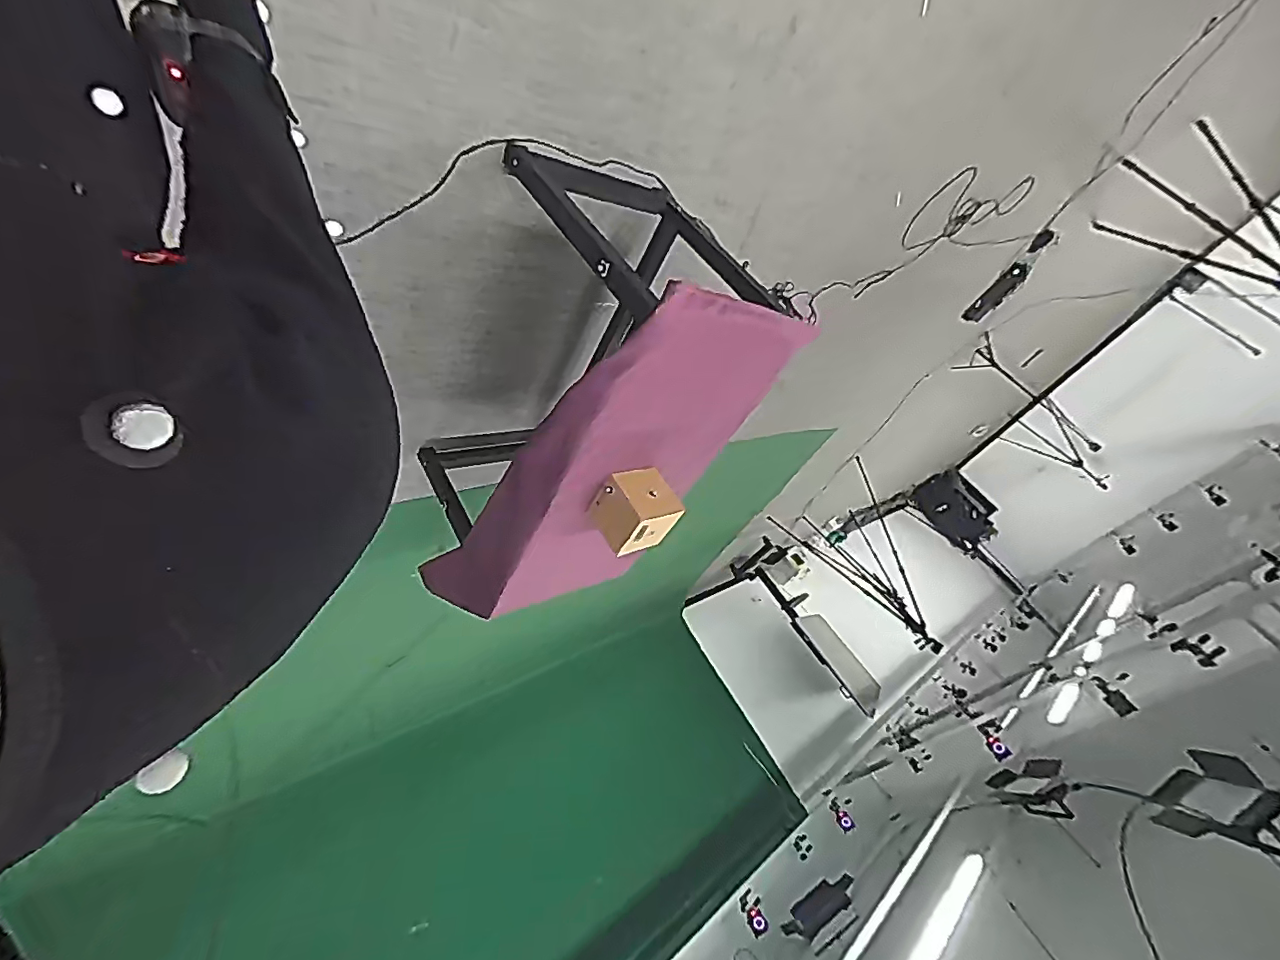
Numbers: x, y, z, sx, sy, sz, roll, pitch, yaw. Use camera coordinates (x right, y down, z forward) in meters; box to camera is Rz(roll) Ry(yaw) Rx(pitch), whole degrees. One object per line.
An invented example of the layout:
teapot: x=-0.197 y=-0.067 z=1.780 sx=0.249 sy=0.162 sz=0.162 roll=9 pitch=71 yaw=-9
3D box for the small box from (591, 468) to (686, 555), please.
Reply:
small box: x=-0.011 y=0.083 z=1.533 sx=0.179 sy=0.176 sz=0.168 roll=-10 pitch=146 yaw=-43
